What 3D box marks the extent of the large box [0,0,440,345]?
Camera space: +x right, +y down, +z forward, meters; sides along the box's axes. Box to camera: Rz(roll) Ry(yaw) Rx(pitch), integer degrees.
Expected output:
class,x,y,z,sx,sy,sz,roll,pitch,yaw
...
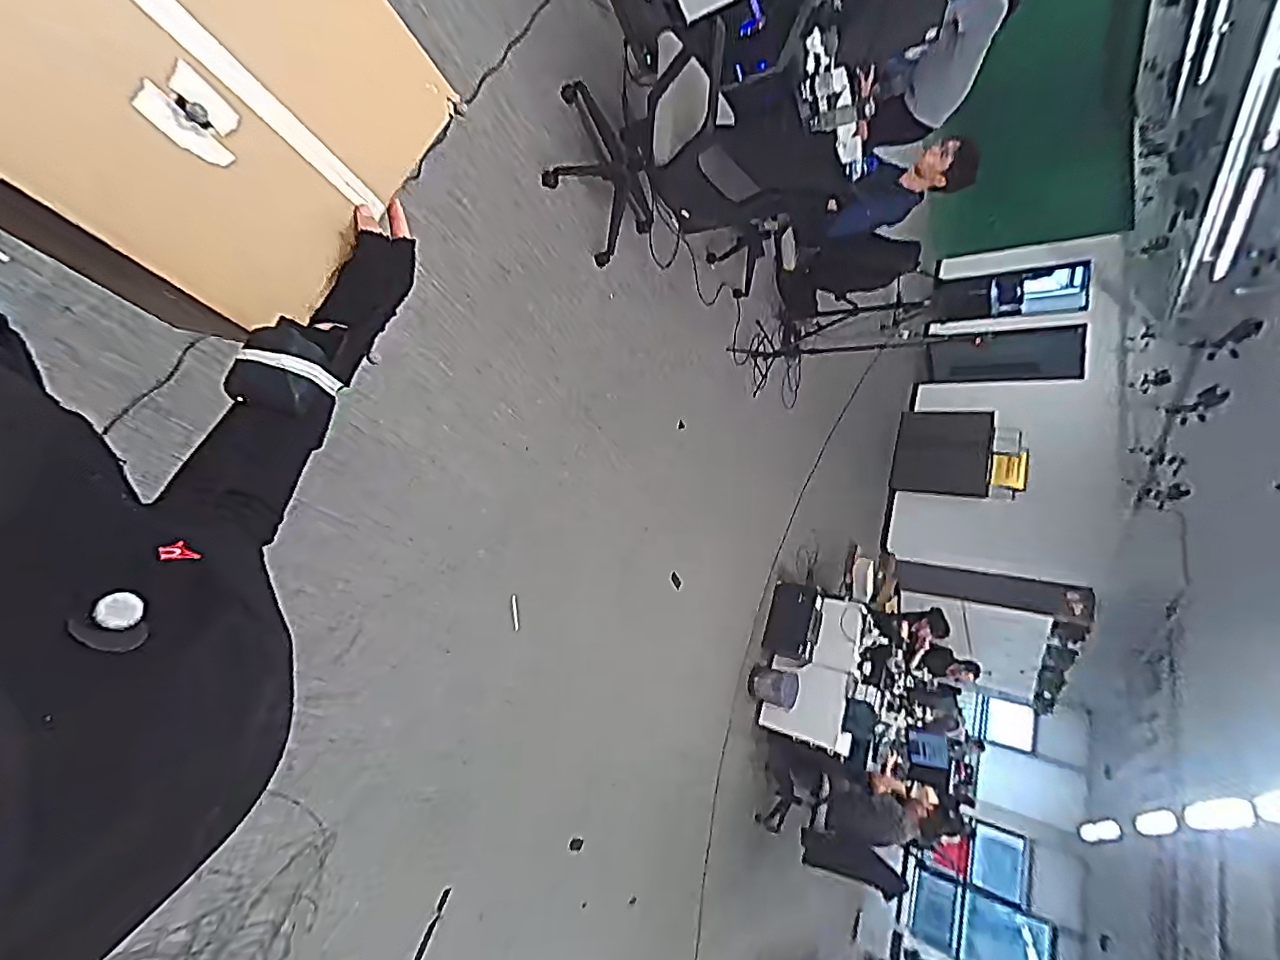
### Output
class,x,y,z,sx,sy,sz,roll,pitch,yaw
large box,-0.471,-0.365,0.444,0.408,0.320,0.320,43,68,-53
